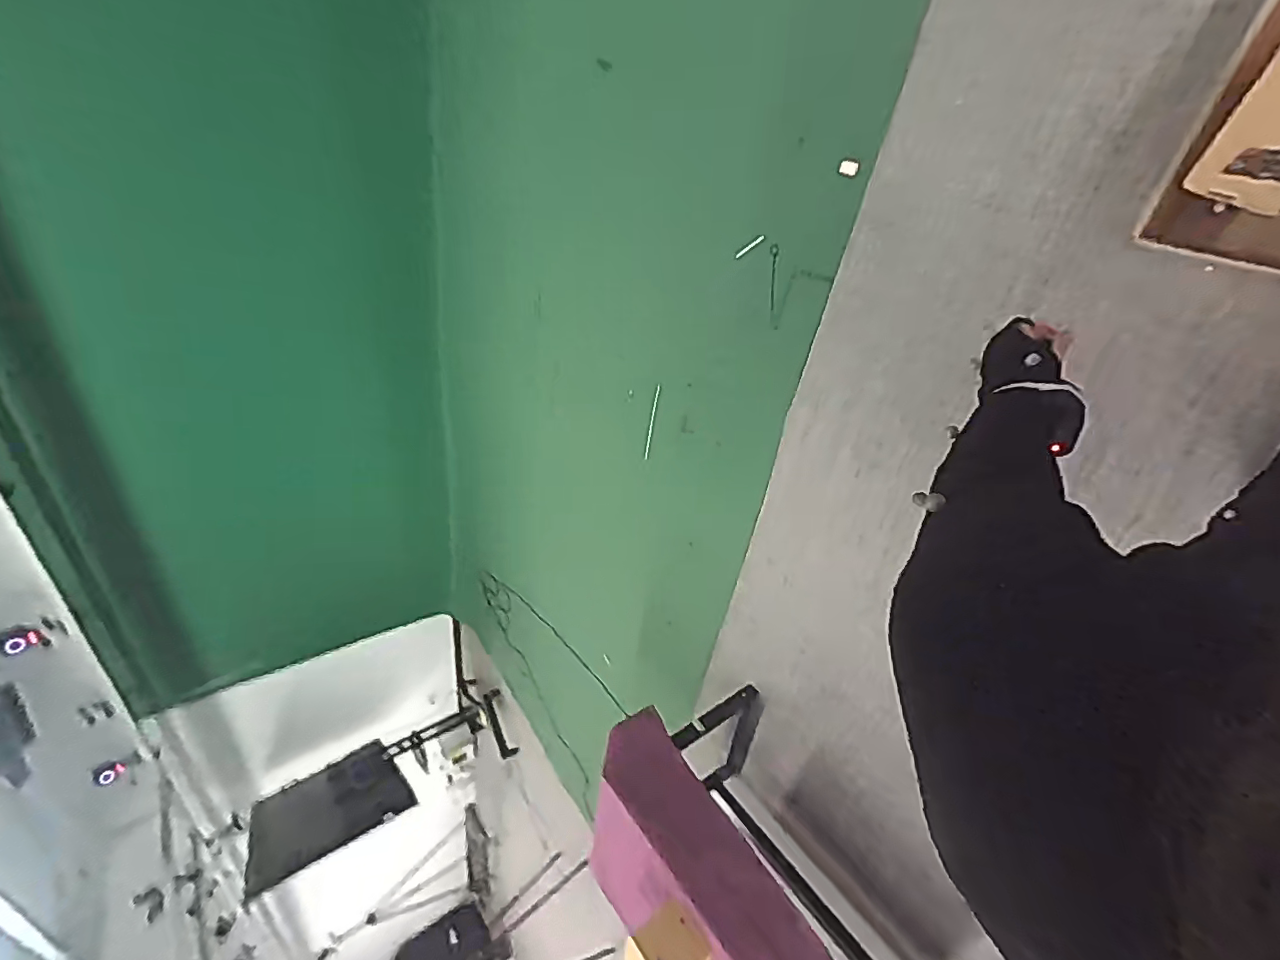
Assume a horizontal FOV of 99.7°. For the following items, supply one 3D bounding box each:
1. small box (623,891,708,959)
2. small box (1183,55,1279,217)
[{"bbox_3d":[0.072,1.331,1.534,0.168,0.176,0.179,36,131,40],"label":"small box"},{"bbox_3d":[0.856,-0.429,0.675,0.168,0.176,0.179,46,135,34],"label":"small box"}]
